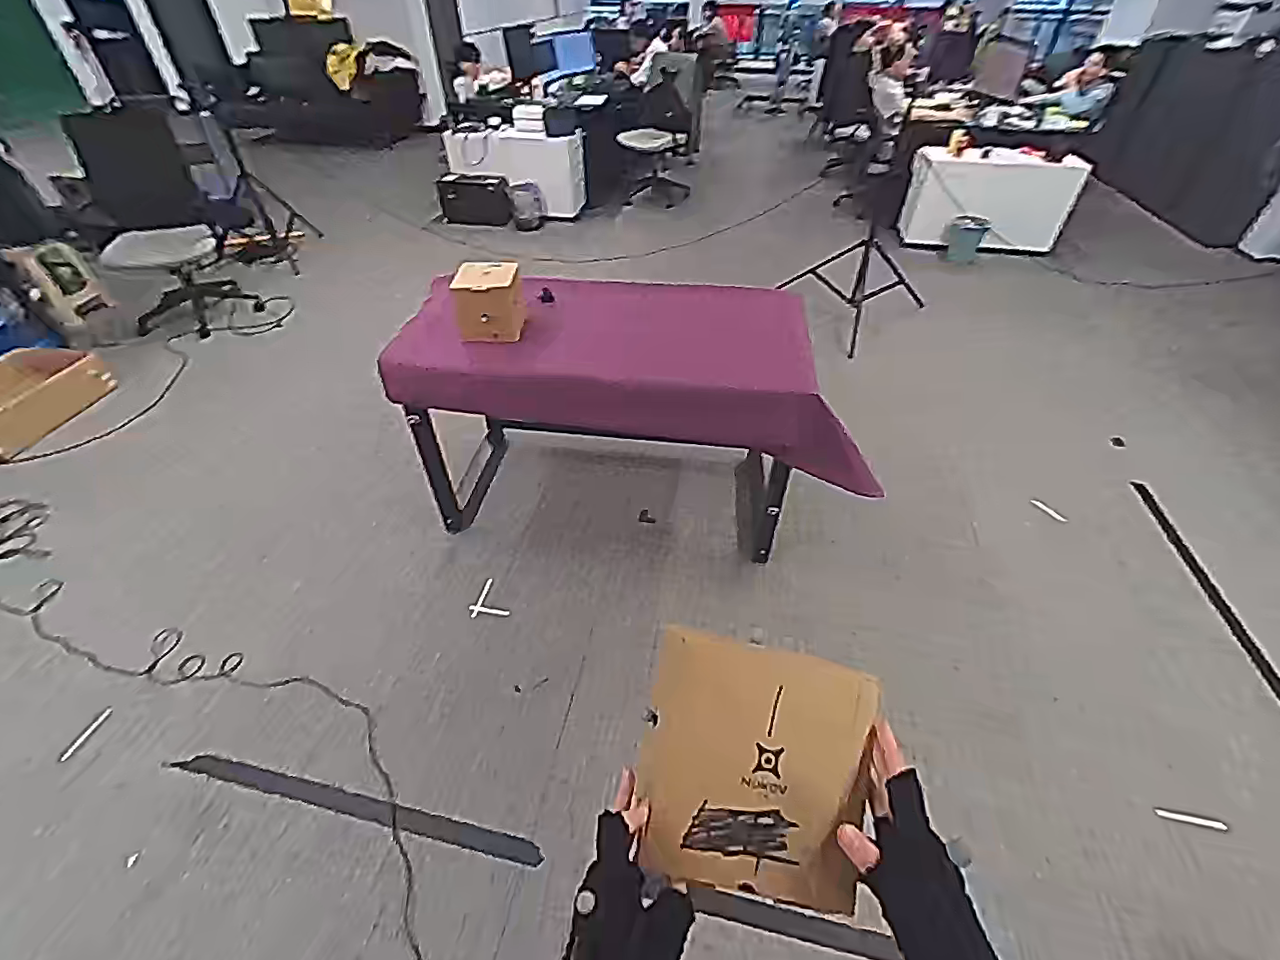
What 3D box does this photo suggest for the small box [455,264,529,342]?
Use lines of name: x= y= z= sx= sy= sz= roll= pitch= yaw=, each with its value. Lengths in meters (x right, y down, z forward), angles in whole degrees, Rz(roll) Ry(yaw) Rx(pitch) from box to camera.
small box: x=-0.428 y=-0.522 z=1.600 sx=0.168 sy=0.176 sz=0.179 roll=0 pitch=43 yaw=-1

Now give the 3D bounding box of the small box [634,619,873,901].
small box: x=0.091 y=0.236 z=0.504 sx=0.168 sy=0.176 sz=0.179 roll=12 pitch=77 yaw=0
